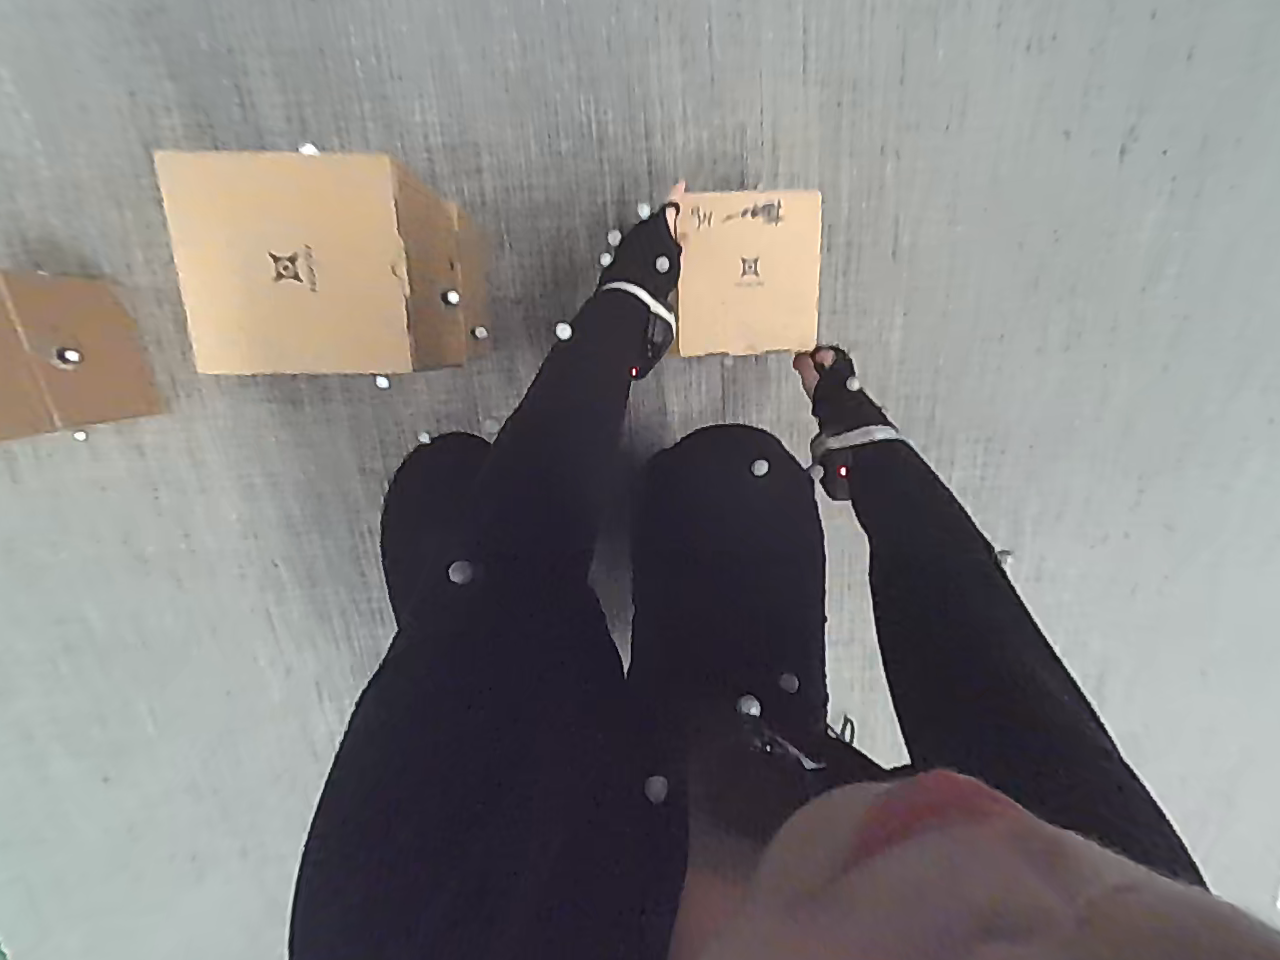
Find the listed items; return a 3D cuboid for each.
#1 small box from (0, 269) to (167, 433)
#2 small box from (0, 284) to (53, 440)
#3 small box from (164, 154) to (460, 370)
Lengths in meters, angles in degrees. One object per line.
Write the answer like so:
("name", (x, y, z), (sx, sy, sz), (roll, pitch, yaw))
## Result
("small box", (-0.743, -0.153, 0.665), (0.168, 0.176, 0.179), (-6, 104, -3))
("small box", (-0.732, -0.109, 0.507), (0.168, 0.176, 0.179), (-8, 105, -3))
("small box", (-0.287, -0.191, 0.518), (0.179, 0.176, 0.168), (-1, 104, -4))
